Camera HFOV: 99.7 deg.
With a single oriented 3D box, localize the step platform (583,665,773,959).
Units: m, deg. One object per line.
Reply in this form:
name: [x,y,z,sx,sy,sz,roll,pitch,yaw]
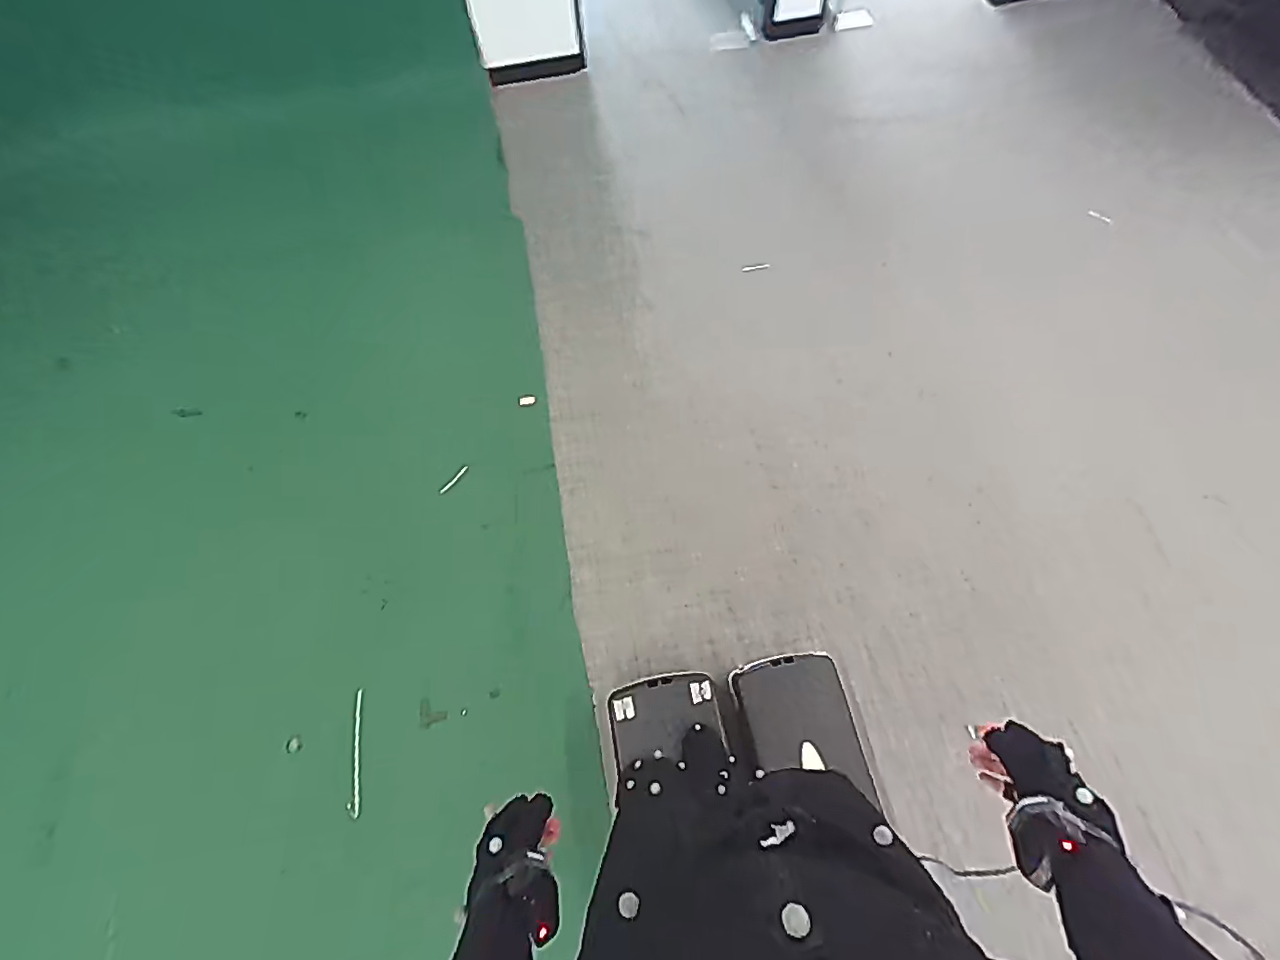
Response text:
step platform: [0.074,0.750,1.109,0.286,0.204,0.684,-11,67,-4]
